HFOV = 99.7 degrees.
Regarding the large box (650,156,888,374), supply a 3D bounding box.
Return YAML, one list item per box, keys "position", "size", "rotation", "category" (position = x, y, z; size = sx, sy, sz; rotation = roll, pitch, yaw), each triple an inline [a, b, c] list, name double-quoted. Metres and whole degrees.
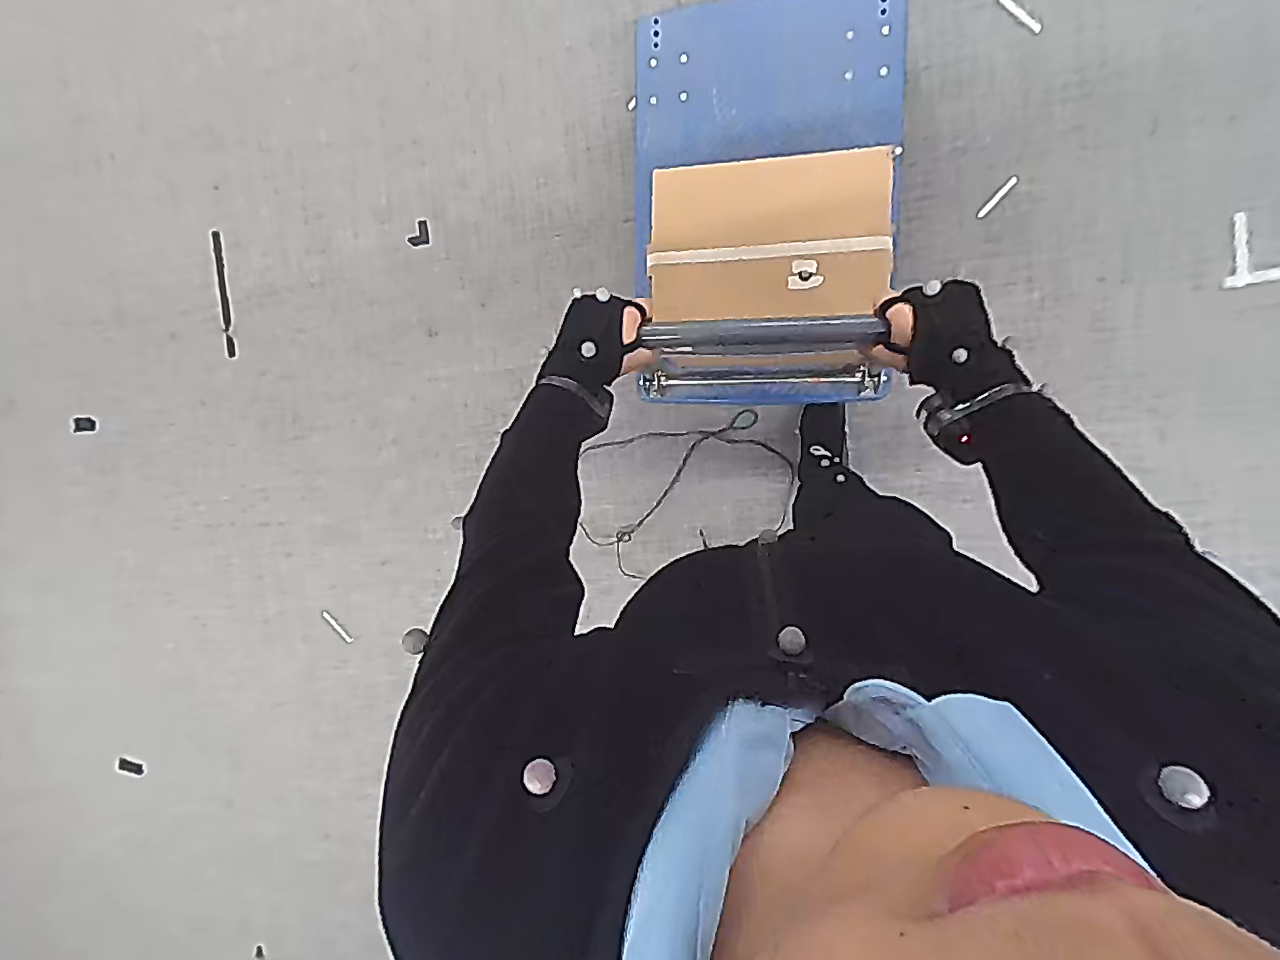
- position: [0.243, -0.391, 1.082]
  size: [0.408, 0.320, 0.320]
  rotation: [1, 95, 12]
  category: "large box"
